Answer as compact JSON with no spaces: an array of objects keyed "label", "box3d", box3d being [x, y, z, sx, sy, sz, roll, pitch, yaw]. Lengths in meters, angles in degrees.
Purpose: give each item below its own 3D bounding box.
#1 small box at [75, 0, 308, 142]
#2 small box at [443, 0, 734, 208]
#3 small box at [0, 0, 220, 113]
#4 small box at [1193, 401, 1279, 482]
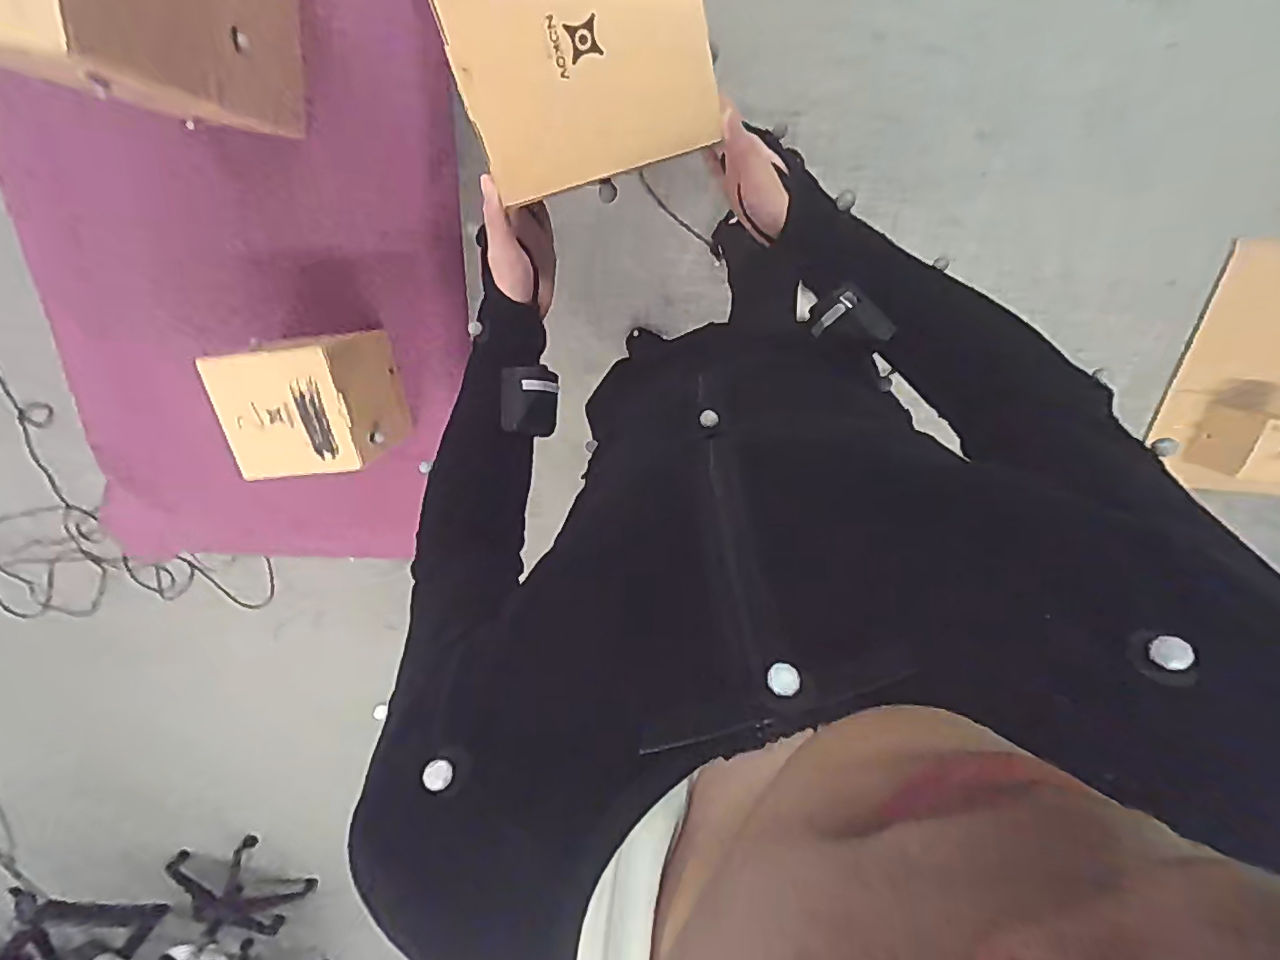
[{"label":"small box","box3d":[-0.511,-0.512,0.621,0.168,0.176,0.179,9,112,-3]},{"label":"small box","box3d":[-0.033,-0.337,0.436,0.179,0.176,0.168,-12,120,9]},{"label":"small box","box3d":[-0.511,-0.448,0.472,0.168,0.176,0.179,8,112,-3]},{"label":"small box","box3d":[1.718,-0.107,1.504,0.168,0.176,0.179,7,113,-2]}]
